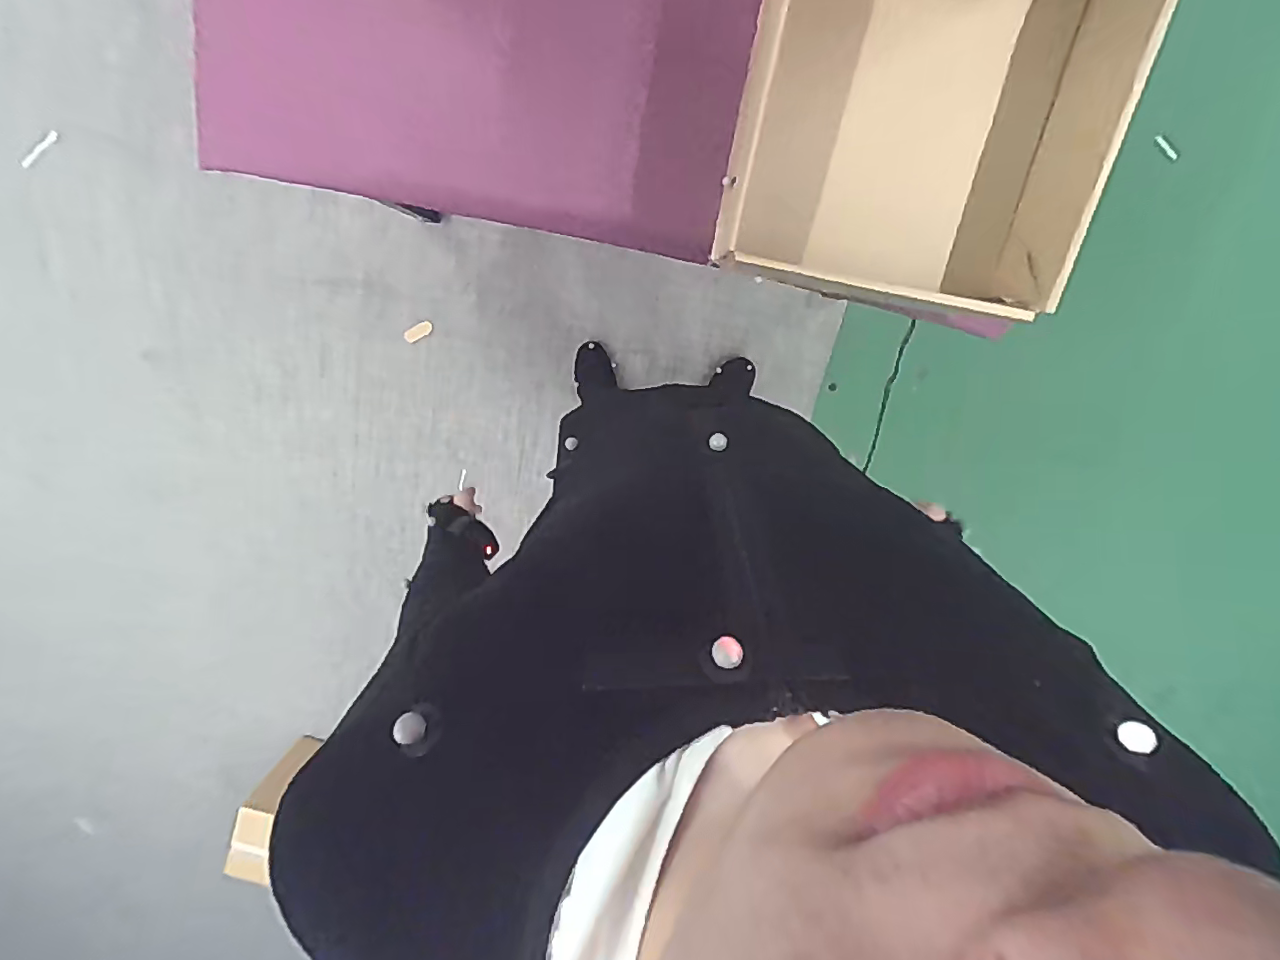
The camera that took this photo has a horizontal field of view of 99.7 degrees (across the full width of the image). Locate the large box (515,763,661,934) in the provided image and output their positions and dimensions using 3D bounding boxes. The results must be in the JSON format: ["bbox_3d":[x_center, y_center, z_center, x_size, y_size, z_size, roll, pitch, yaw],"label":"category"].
[{"bbox_3d":[-0.167,1.275,1.893,0.408,0.320,0.320,-21,106,6],"label":"large box"}]
